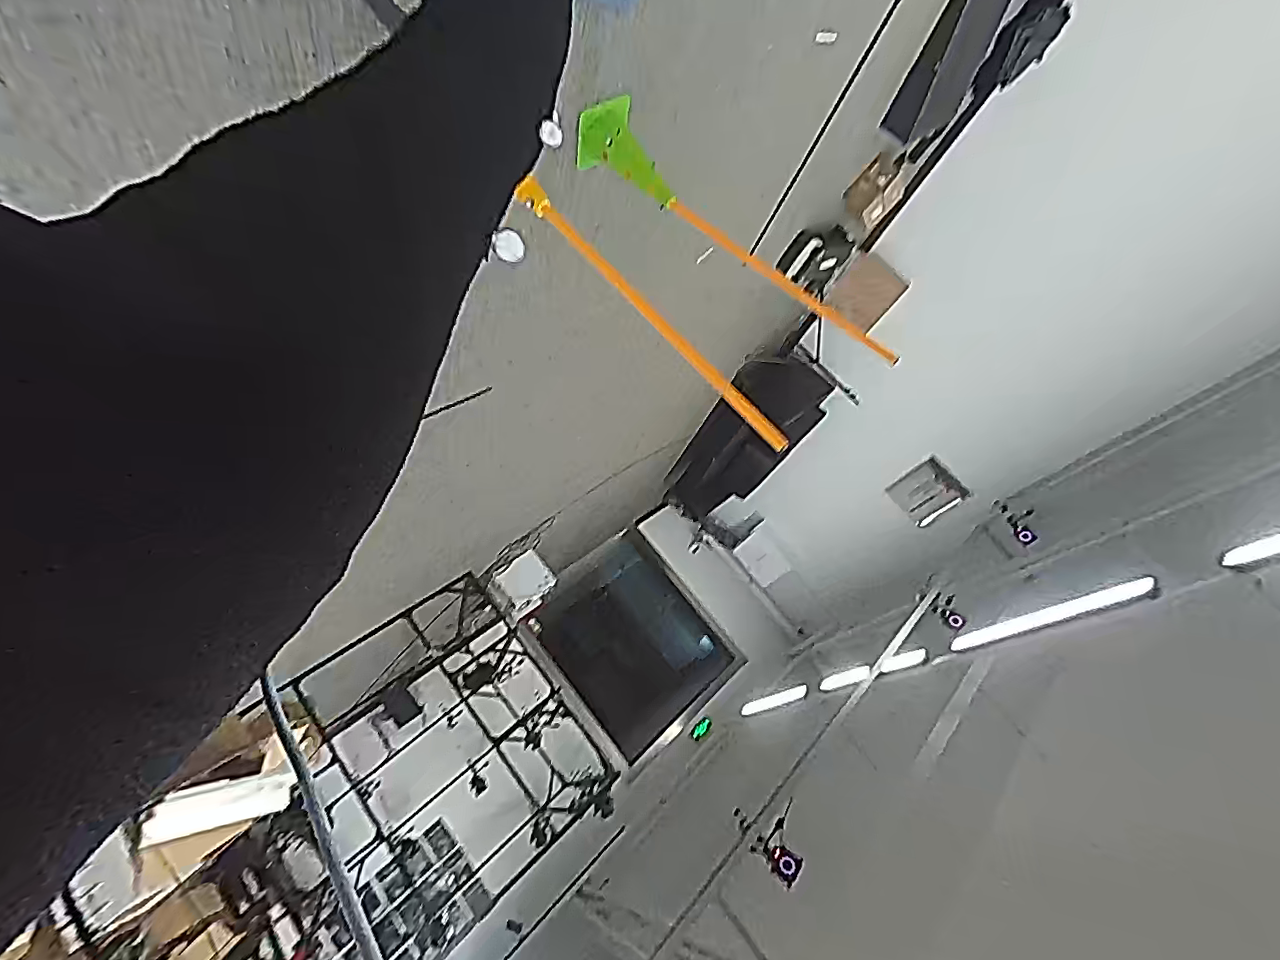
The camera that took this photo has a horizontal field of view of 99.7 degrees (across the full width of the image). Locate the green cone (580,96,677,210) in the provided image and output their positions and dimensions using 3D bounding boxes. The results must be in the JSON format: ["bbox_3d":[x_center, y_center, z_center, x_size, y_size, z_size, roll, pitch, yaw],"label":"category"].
[{"bbox_3d":[-0.005,-0.991,1.707,0.202,0.368,0.200,-34,167,-20],"label":"green cone"}]
